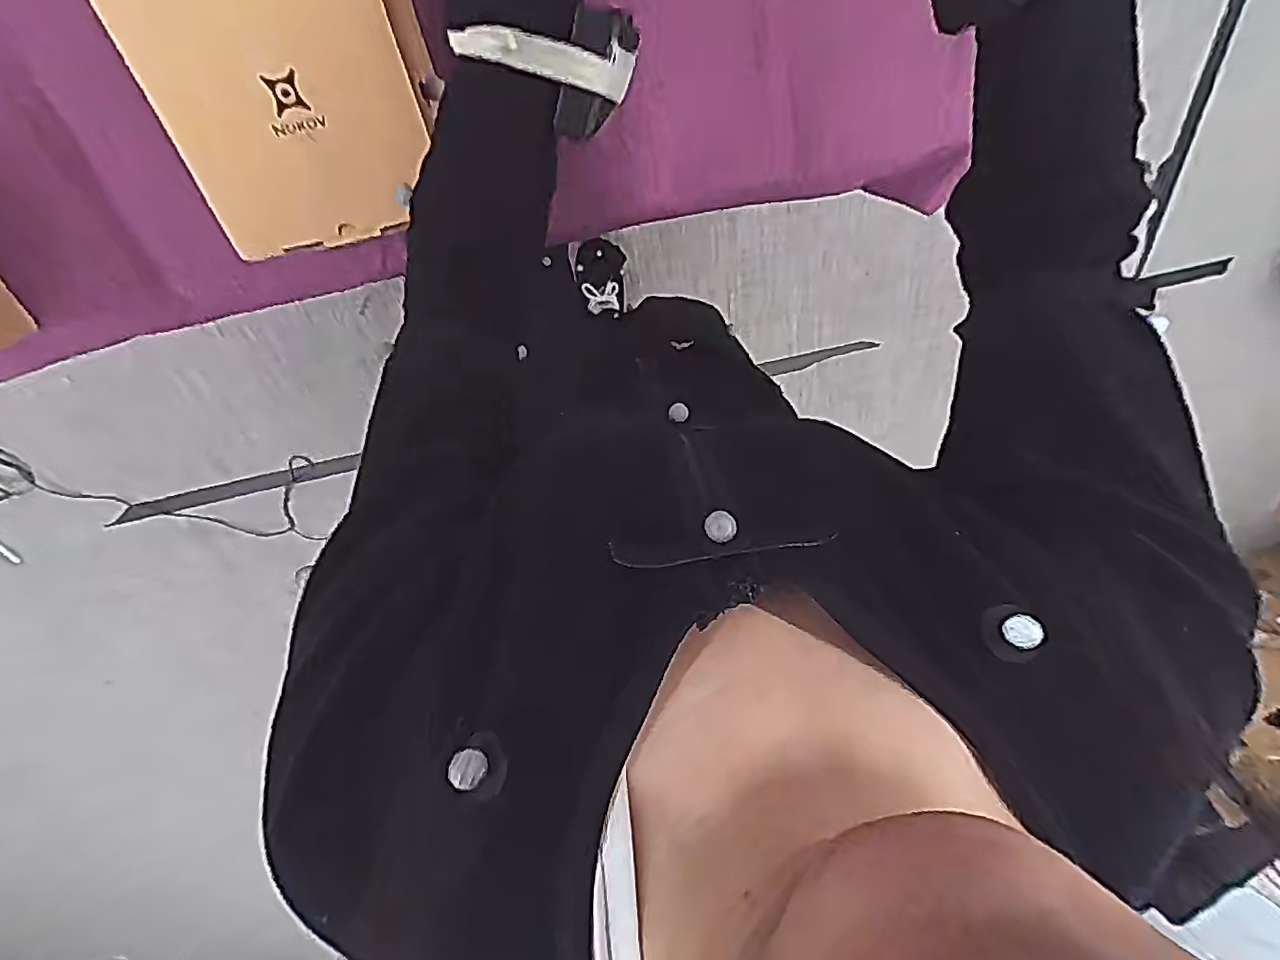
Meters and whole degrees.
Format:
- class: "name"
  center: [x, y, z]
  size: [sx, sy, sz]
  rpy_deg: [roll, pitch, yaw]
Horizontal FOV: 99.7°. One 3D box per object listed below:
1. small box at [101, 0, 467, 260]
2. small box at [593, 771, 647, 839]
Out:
- class: "small box"
  center: [-0.250, -0.299, 0.432]
  size: [0.168, 0.176, 0.179]
  rpy_deg: [-15, 127, -3]
- class: "small box"
  center: [-0.082, 1.301, 2.173]
  size: [0.179, 0.176, 0.168]
  rpy_deg: [-14, 126, -3]
